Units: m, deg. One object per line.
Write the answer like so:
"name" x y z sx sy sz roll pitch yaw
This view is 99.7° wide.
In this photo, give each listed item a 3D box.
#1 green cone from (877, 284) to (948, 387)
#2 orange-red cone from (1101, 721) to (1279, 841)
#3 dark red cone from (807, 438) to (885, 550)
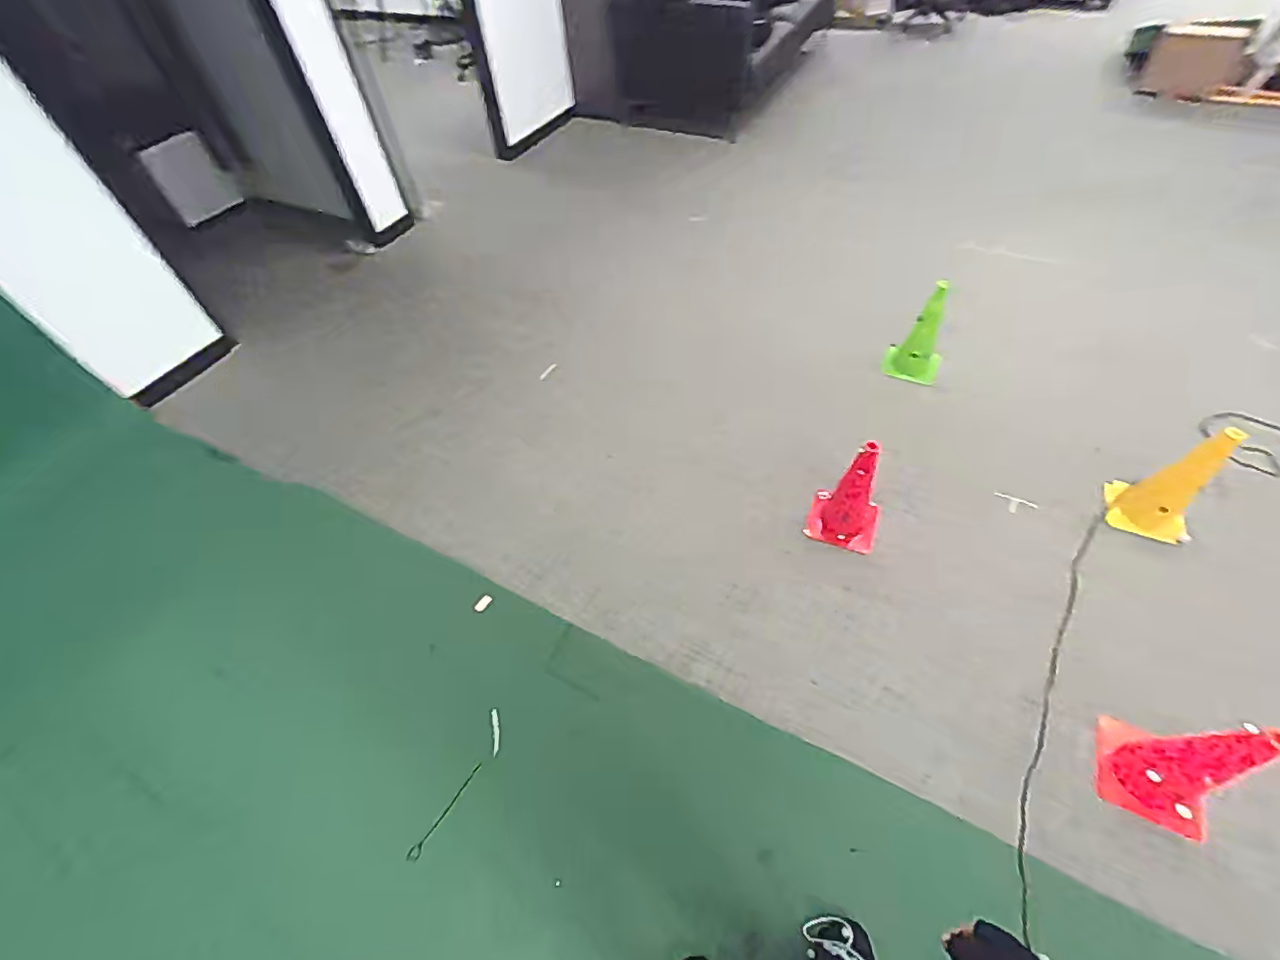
"green cone" 1.051 -0.556 2.012 0.202 0.368 0.200 20 56 18
"orange-red cone" 1.158 0.571 1.100 0.198 0.360 0.199 21 55 19
"dark red cone" 0.626 0.020 1.558 0.202 0.394 0.201 16 56 17
